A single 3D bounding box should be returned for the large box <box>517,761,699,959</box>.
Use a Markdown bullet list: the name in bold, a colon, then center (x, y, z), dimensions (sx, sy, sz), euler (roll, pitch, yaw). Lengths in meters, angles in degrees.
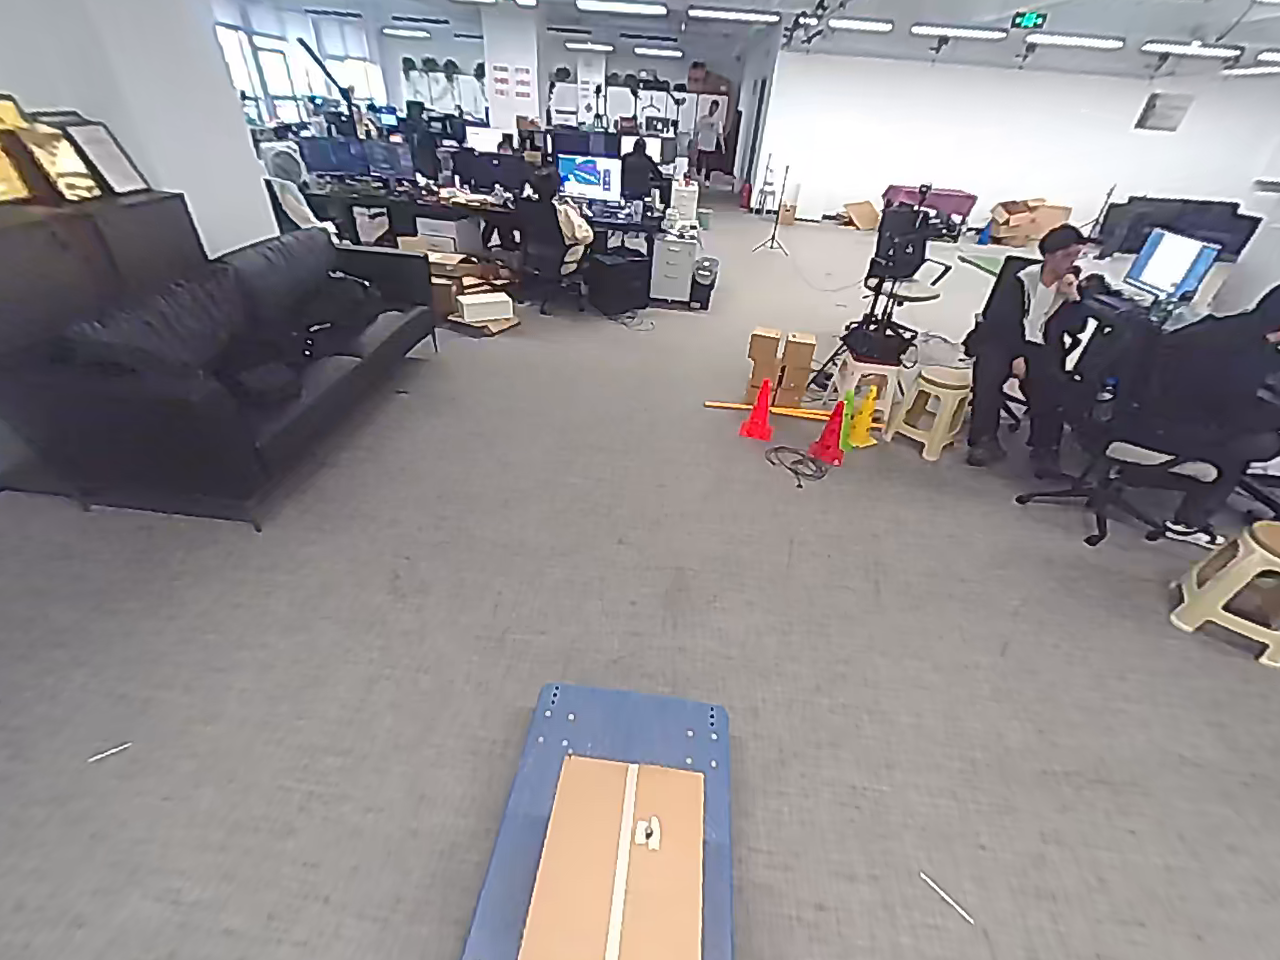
- **large box**: center (-0.051, 0.871, 1.112), dimensions (0.320, 0.320, 0.408), euler (7, 34, 2)
